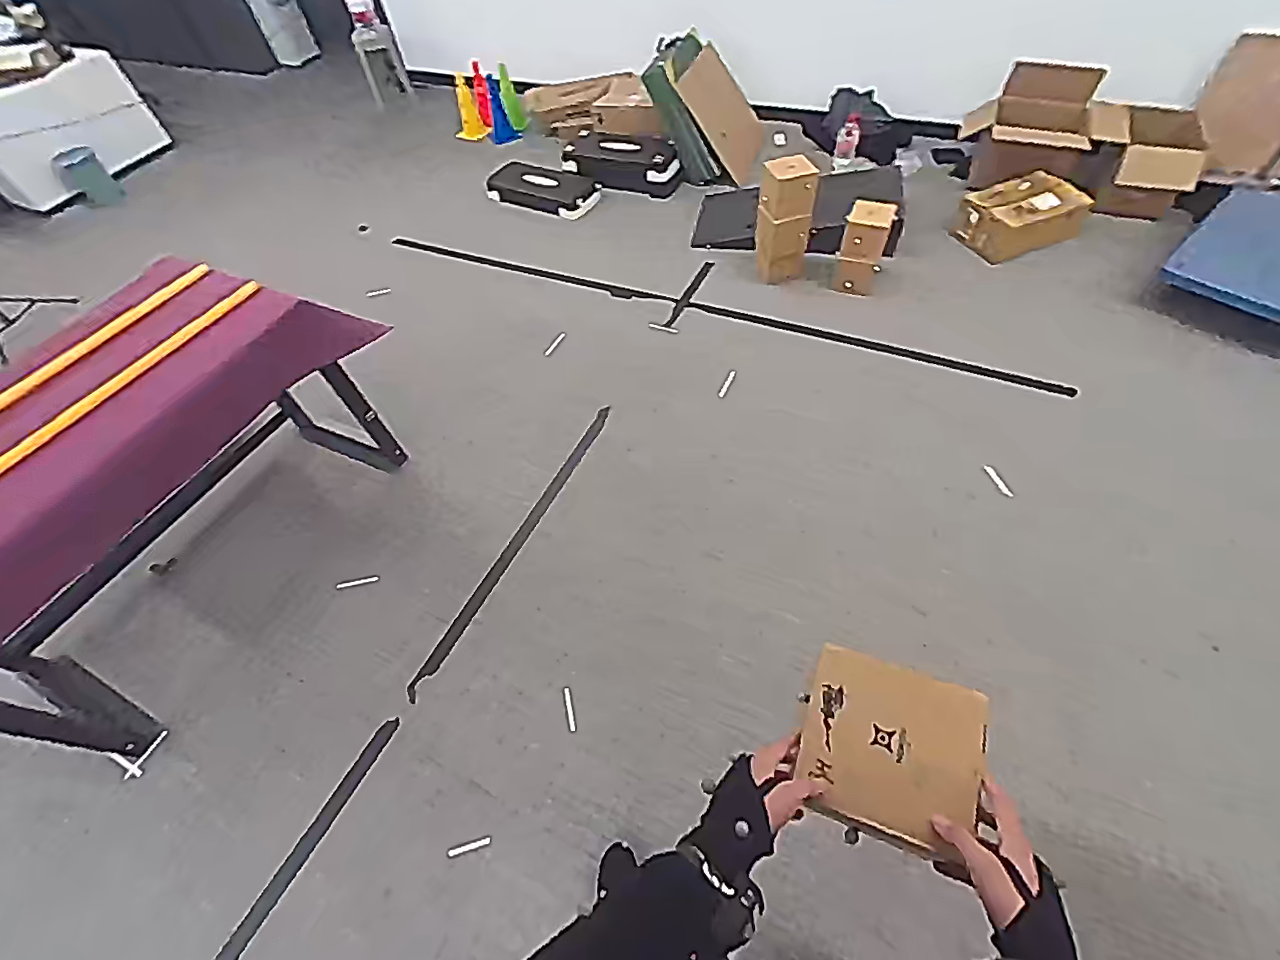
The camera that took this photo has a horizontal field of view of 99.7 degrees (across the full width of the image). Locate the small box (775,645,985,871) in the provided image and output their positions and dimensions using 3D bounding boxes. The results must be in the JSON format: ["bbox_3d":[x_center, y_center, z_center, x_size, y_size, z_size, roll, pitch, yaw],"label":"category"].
[{"bbox_3d":[0.268,0.318,0.631,0.179,0.176,0.168,15,61,18],"label":"small box"}]
